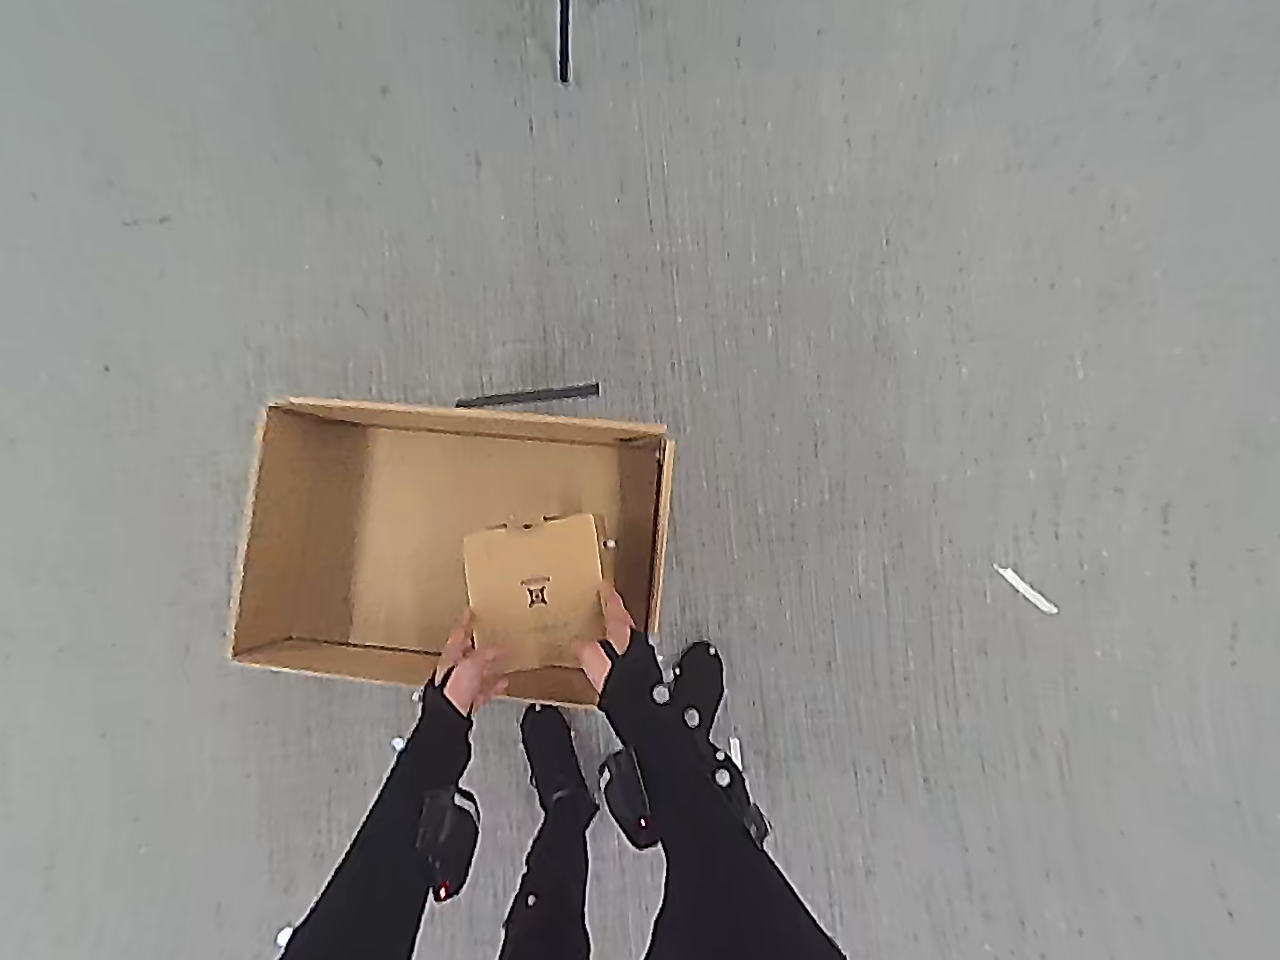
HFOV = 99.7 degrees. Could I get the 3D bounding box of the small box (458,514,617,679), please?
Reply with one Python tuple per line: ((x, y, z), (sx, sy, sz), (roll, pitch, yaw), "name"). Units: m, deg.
((-0.125, 0.146, 0.718), (0.168, 0.176, 0.179), (-9, 84, 1), "small box")
